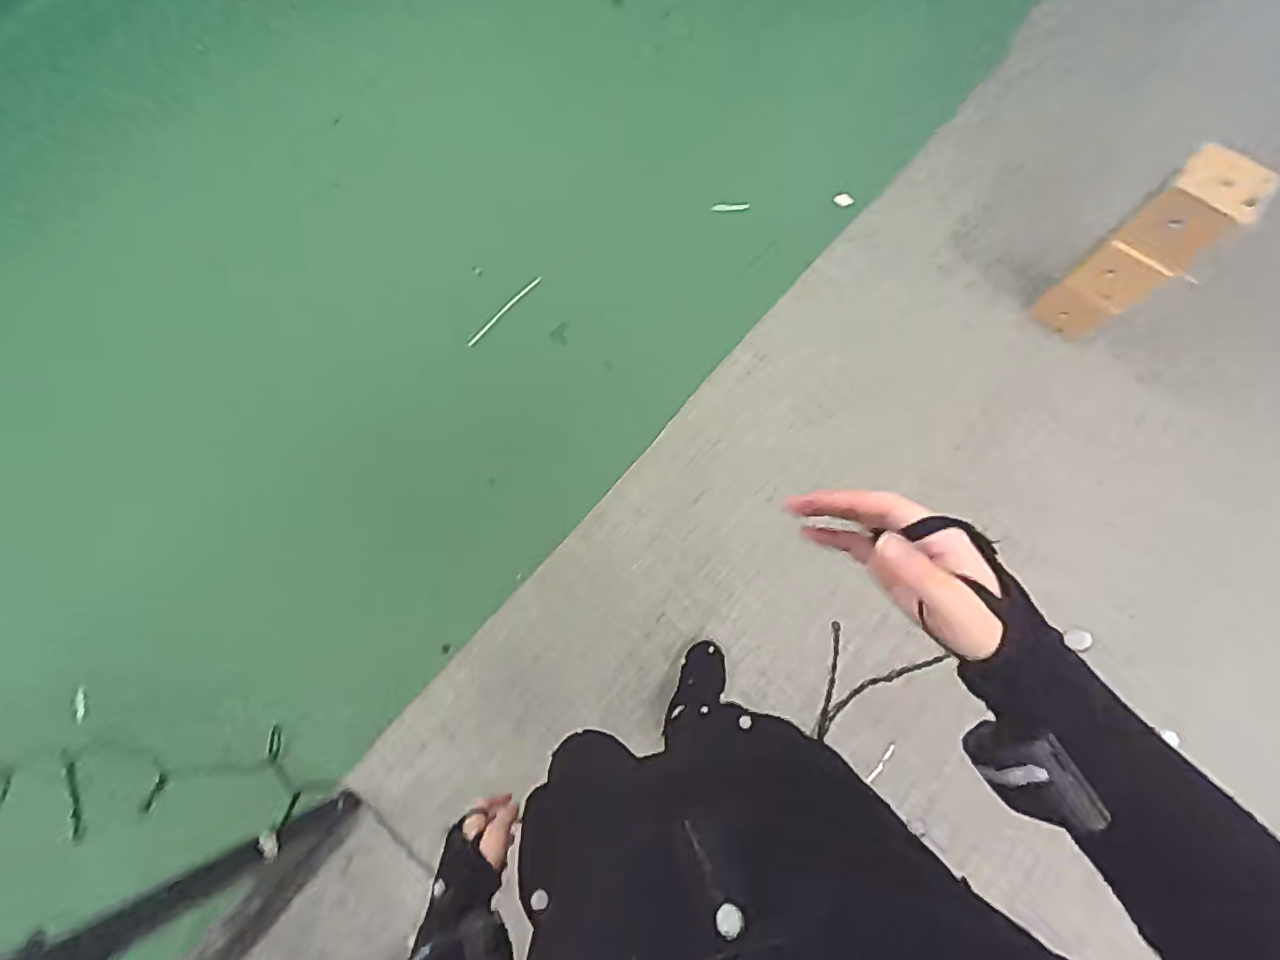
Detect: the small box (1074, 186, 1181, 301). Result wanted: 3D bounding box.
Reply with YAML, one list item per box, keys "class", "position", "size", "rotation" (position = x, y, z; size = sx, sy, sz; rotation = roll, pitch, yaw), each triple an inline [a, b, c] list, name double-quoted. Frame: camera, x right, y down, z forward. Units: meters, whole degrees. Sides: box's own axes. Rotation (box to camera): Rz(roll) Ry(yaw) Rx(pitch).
- class: "small box"
  position: [1.287, -0.605, 1.404]
  size: [0.168, 0.176, 0.179]
  rotation: [39, 80, 12]

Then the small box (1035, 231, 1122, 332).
- class: "small box"
  position: [1.294, -0.565, 1.561]
  size: [0.168, 0.176, 0.179]
  rotation: [41, 81, 12]

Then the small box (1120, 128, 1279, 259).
- class: "small box"
  position: [1.281, -0.652, 1.247]
  size: [0.179, 0.176, 0.168]
  rotation: [39, 81, 13]
